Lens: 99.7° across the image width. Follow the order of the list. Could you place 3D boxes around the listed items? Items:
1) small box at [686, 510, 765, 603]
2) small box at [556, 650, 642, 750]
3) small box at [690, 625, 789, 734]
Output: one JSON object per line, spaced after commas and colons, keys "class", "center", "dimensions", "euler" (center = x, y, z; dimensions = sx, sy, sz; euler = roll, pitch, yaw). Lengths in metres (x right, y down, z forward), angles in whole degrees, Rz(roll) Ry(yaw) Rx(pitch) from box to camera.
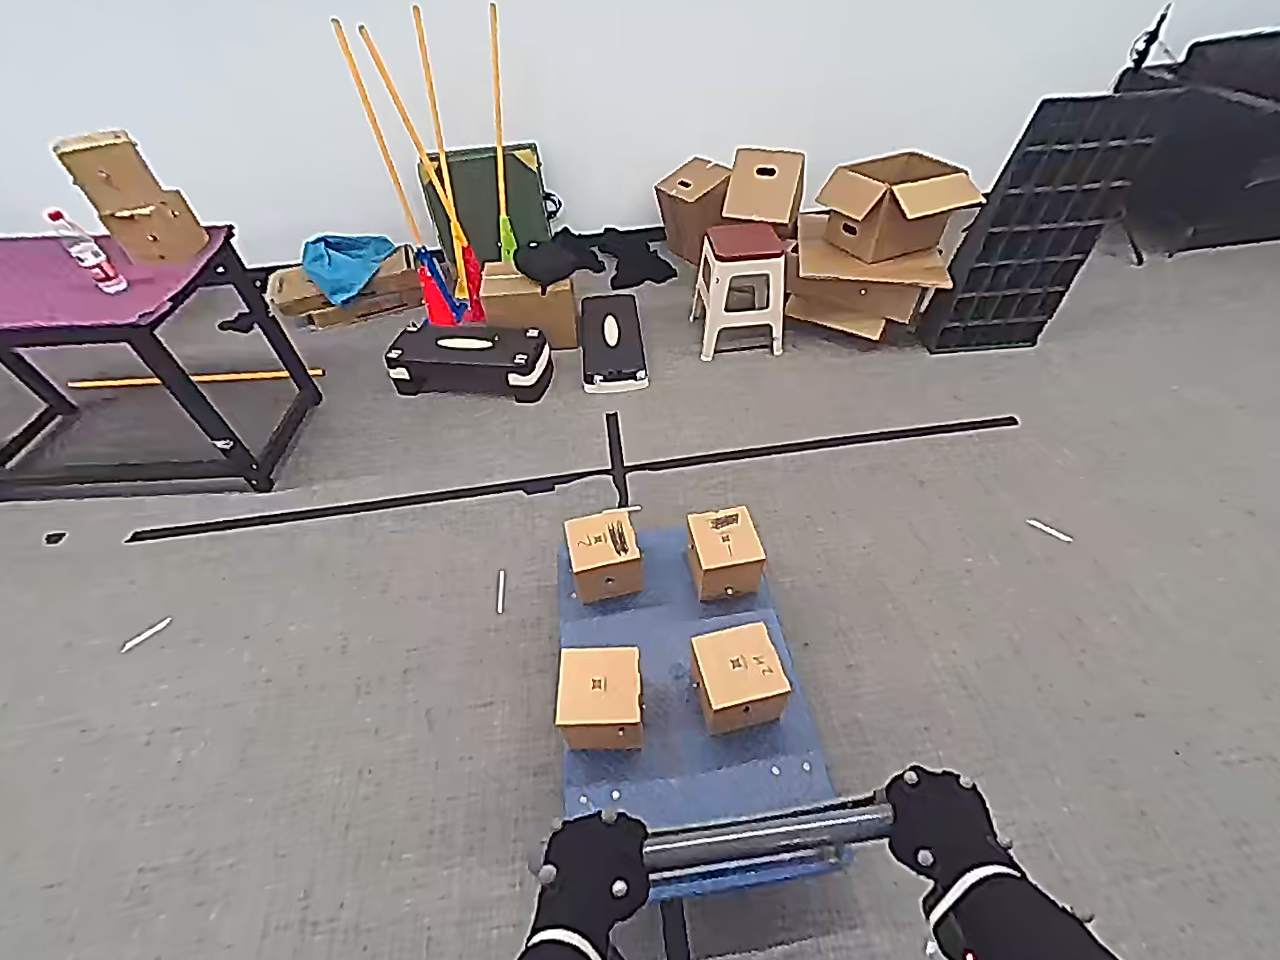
{"class": "small box", "center": [0.222, 0.208, 1.463], "dimensions": [0.168, 0.176, 0.179], "euler": [-9, 49, -5]}
{"class": "small box", "center": [-0.085, 0.499, 1.219], "dimensions": [0.179, 0.176, 0.168], "euler": [-1, 48, 0]}
{"class": "small box", "center": [0.218, 0.460, 1.237], "dimensions": [0.179, 0.176, 0.168], "euler": [-11, 49, -6]}
